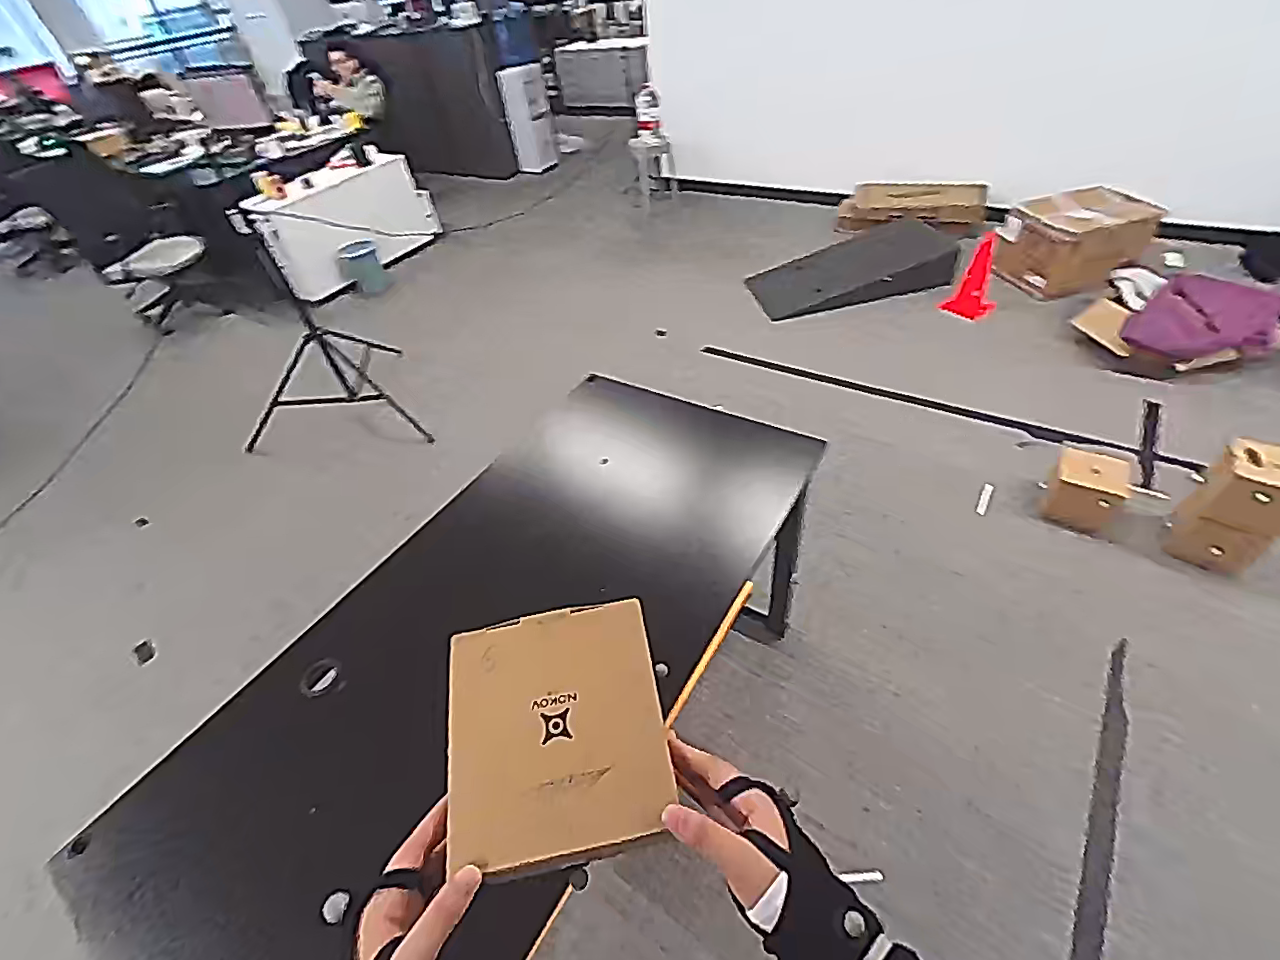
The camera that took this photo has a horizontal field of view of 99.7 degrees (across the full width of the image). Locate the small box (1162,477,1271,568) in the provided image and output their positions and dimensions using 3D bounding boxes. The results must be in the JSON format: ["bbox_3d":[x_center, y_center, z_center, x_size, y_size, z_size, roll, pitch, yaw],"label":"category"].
[{"bbox_3d":[1.681,0.127,1.583,0.168,0.176,0.179,23,55,28],"label":"small box"}]

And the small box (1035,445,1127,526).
[{"bbox_3d":[1.404,0.022,1.726,0.179,0.176,0.168,19,52,25],"label":"small box"}]

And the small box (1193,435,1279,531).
[{"bbox_3d":[1.658,0.010,1.467,0.179,0.176,0.168,22,54,26],"label":"small box"}]

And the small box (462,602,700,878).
[{"bbox_3d":[-0.049,0.233,0.480,0.168,0.176,0.179,-10,55,-3],"label":"small box"}]
